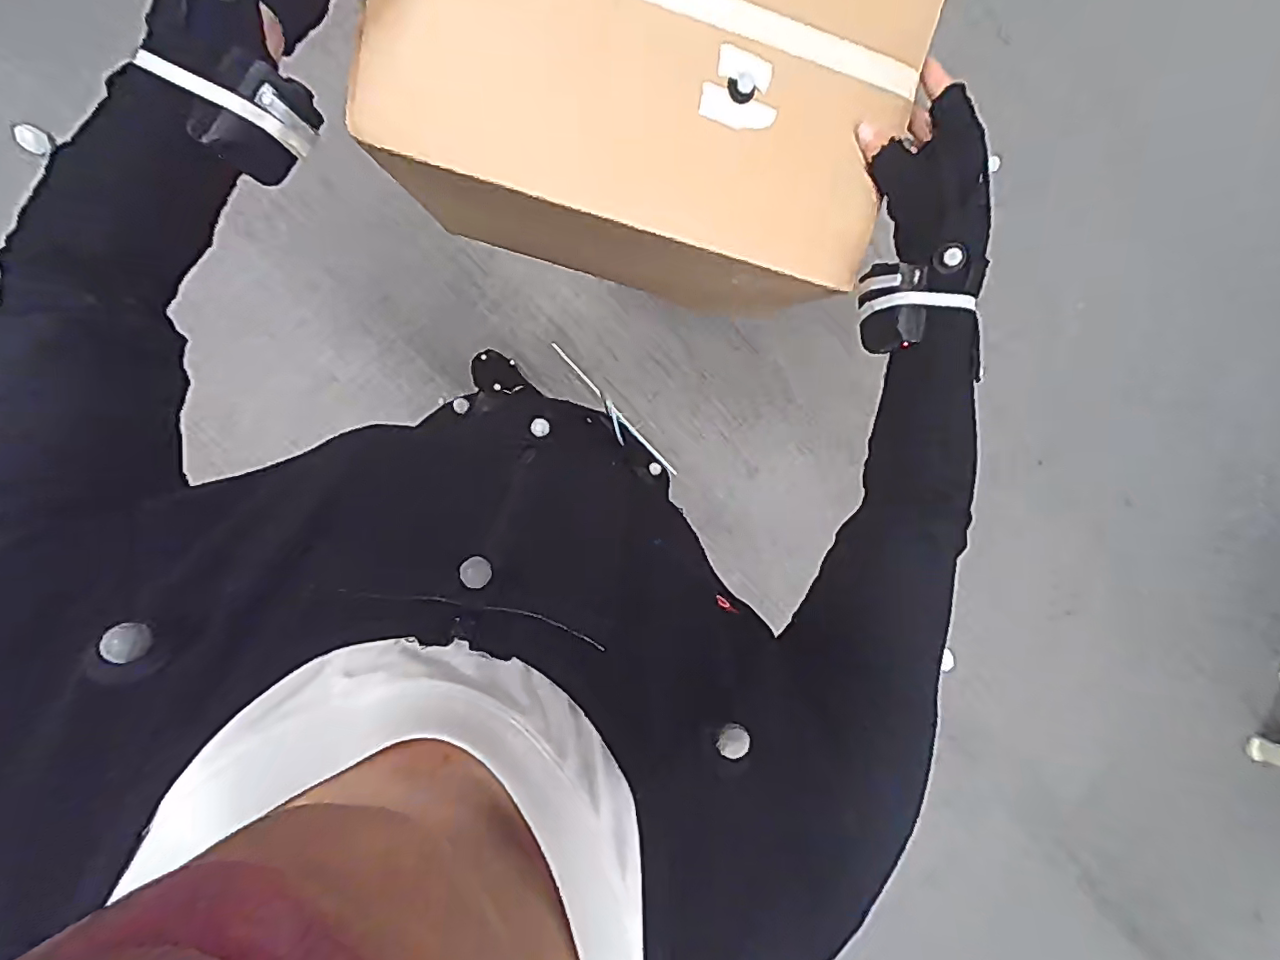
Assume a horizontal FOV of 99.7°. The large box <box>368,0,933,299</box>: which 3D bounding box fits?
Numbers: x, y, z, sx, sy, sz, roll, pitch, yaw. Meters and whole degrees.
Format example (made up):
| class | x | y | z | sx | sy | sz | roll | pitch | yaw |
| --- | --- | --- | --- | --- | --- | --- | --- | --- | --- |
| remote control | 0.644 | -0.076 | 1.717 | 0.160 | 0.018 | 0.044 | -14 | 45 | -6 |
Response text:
| class | x | y | z | sx | sy | sz | roll | pitch | yaw |
| --- | --- | --- | --- | --- | --- | --- | --- | --- | --- |
| large box | 0.003 | -0.397 | 0.540 | 0.408 | 0.320 | 0.320 | 12 | 102 | -11 |
